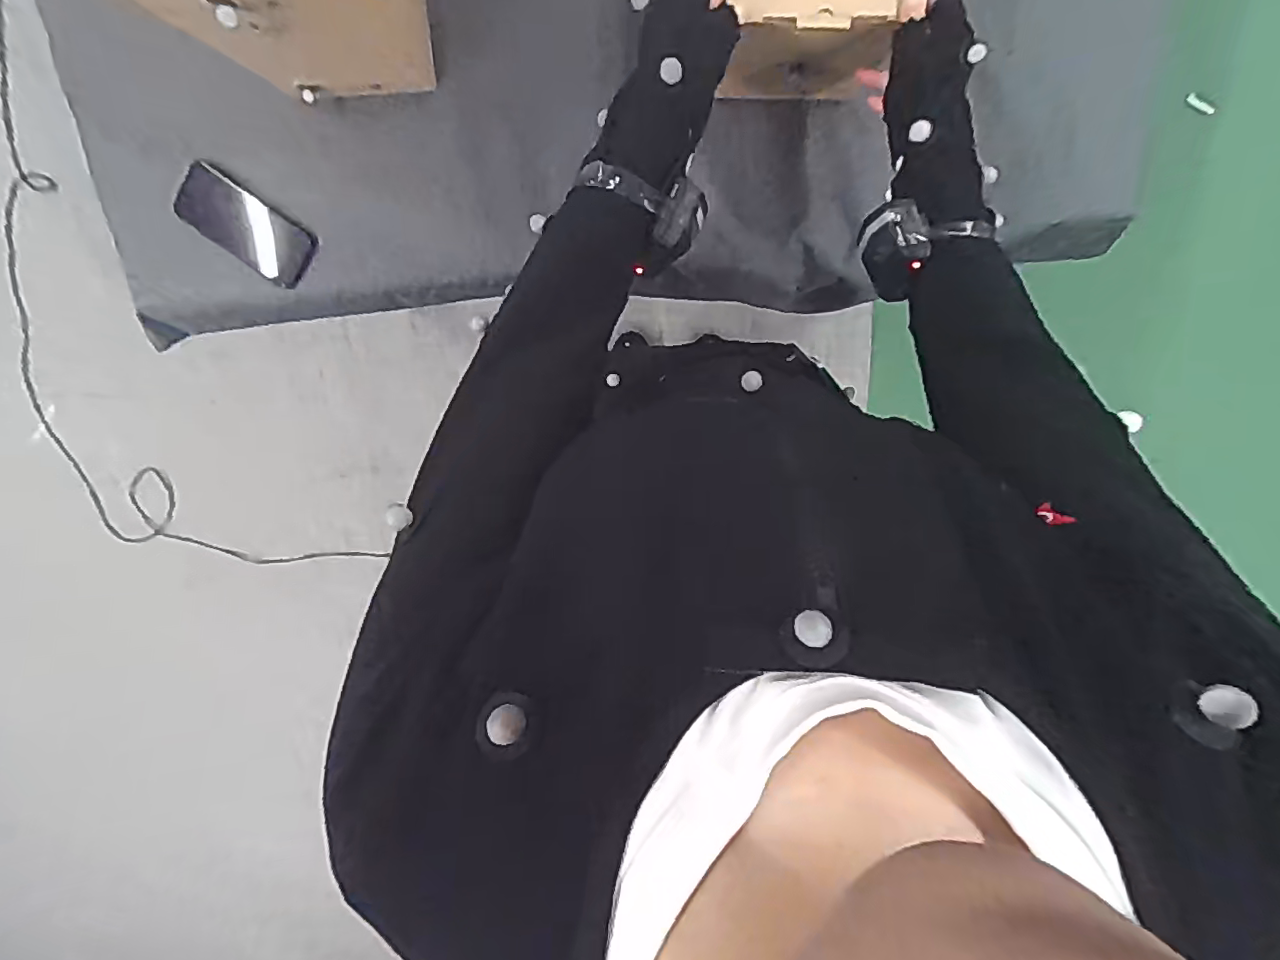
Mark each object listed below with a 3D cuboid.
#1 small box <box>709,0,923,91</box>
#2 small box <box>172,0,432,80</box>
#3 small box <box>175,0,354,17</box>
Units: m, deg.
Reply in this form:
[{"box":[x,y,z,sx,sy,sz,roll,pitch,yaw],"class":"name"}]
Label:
[{"box":[0.155,-0.486,0.496,0.168,0.176,0.179,2,107,1],"class":"small box"},{"box":[-0.311,-0.502,0.504,0.168,0.176,0.179,-2,106,2],"class":"small box"},{"box":[-0.314,-0.451,0.350,0.168,0.176,0.179,-2,107,3],"class":"small box"}]
